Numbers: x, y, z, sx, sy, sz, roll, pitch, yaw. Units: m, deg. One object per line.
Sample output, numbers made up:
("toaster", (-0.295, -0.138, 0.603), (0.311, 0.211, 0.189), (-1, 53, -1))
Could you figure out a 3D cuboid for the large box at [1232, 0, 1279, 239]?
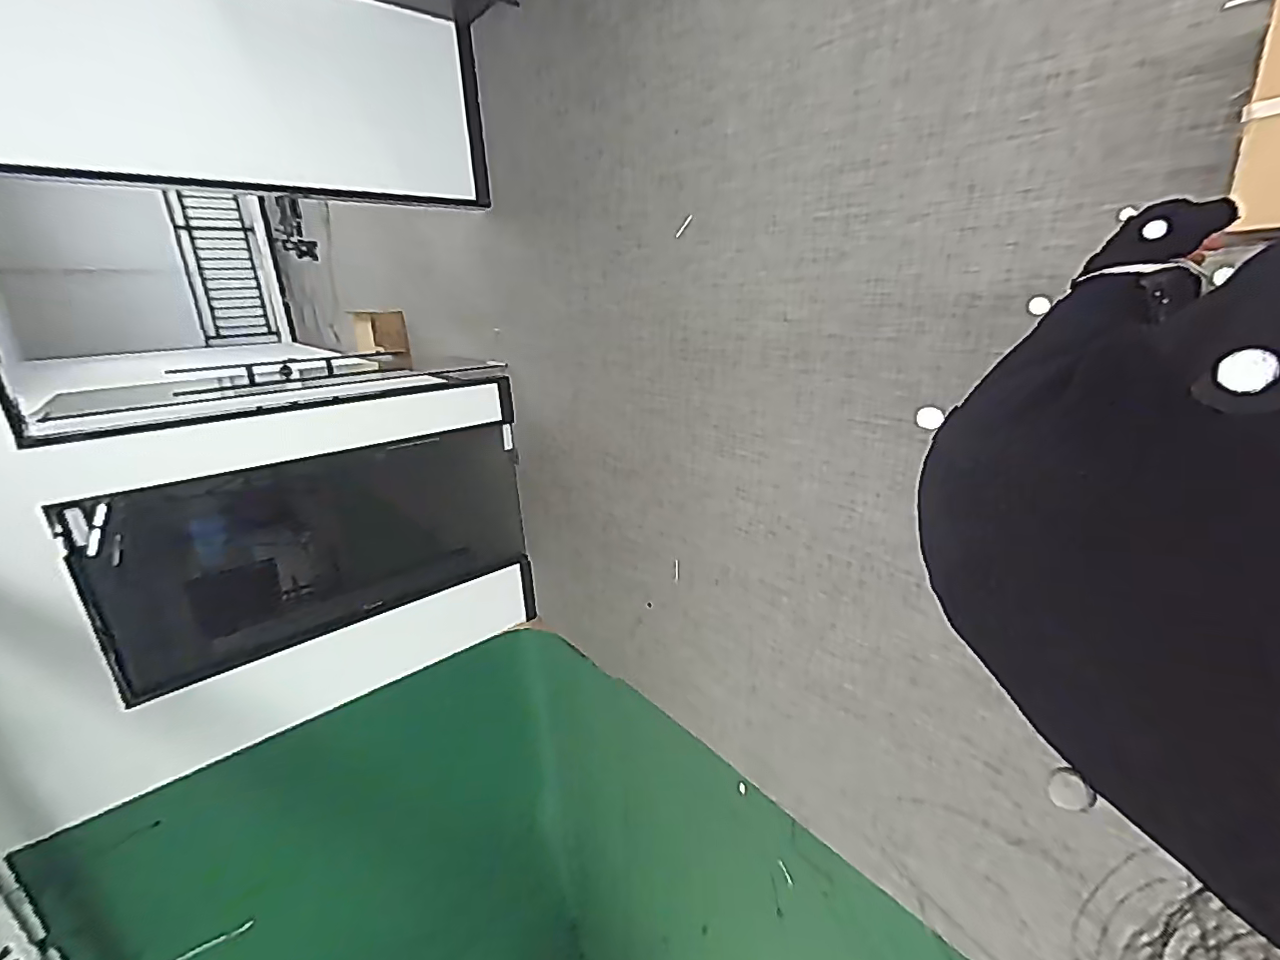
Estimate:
("large box", (1.093, -0.511, 0.692), (0.408, 0.320, 0.320), (16, 116, 48))
